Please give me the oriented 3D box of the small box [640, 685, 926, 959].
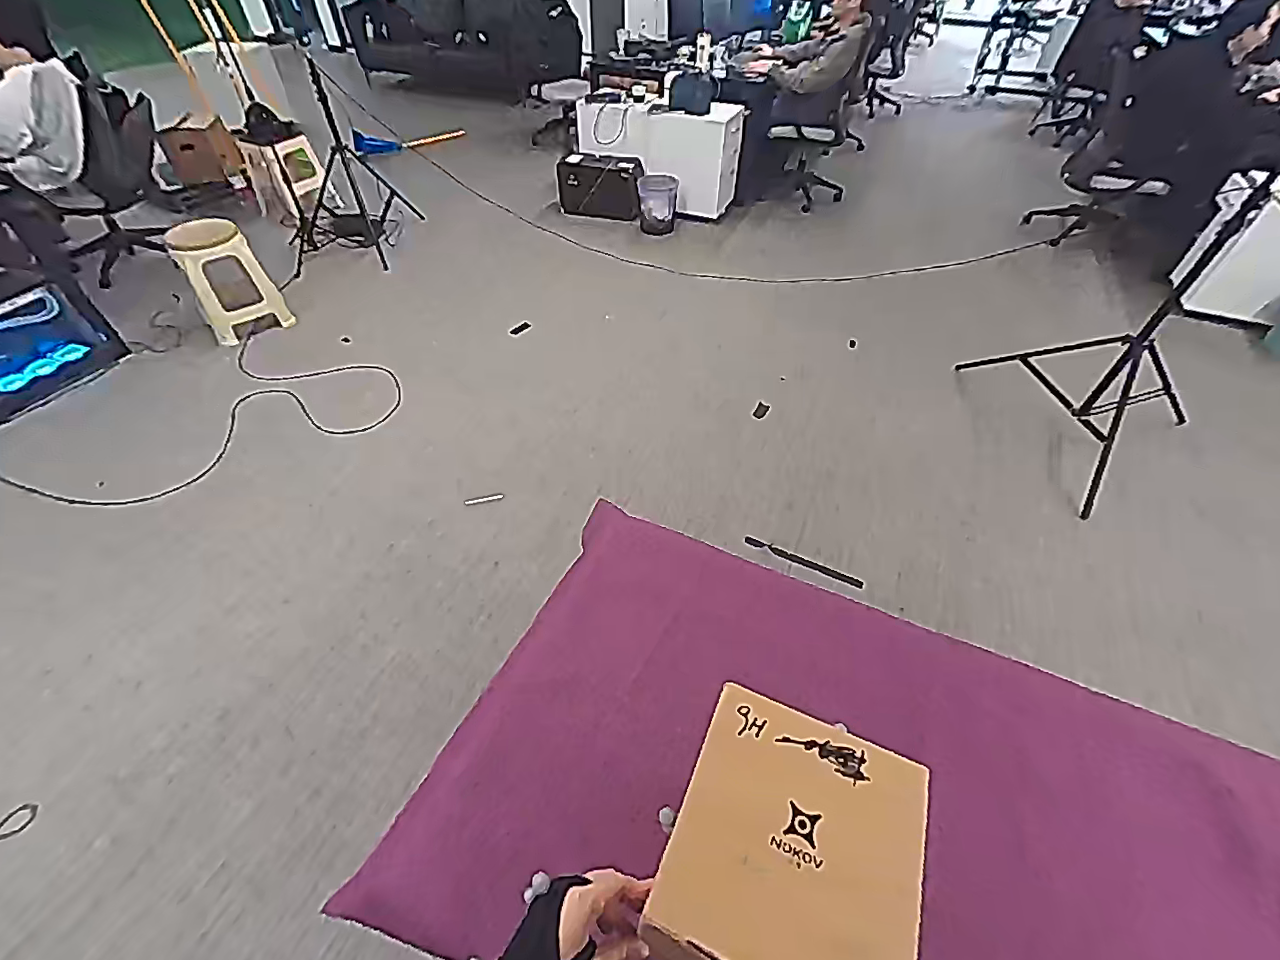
[{"bbox_3d":[0.110,0.312,0.445,0.168,0.176,0.179,19,49,16],"label":"small box"}]
